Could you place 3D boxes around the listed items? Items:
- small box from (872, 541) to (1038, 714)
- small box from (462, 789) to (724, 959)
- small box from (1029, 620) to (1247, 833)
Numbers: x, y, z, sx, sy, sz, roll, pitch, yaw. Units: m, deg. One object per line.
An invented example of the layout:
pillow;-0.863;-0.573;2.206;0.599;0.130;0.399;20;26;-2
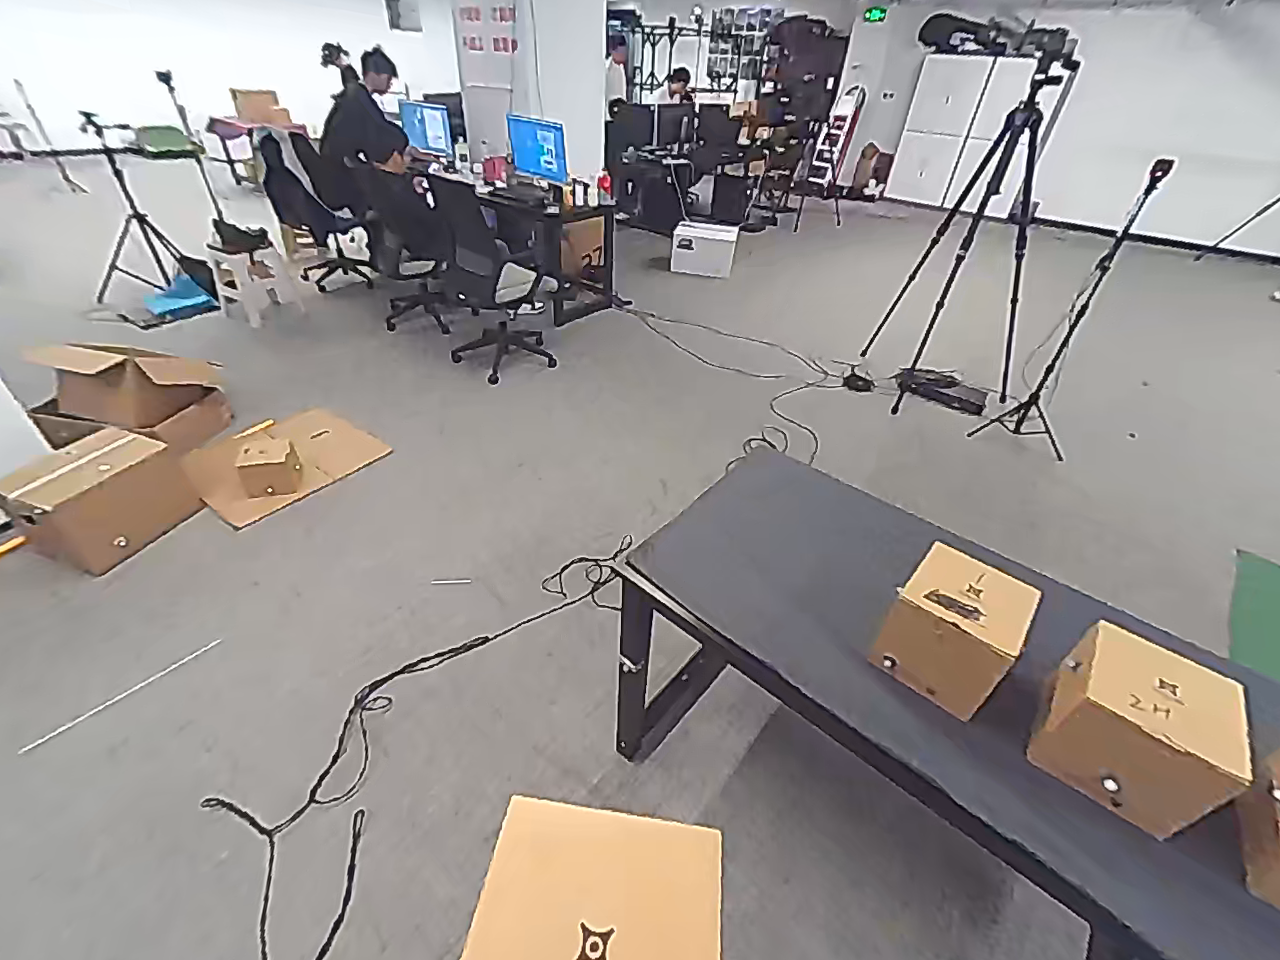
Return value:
small box;0.505;0.240;0.885;0.168;0.176;0.179;31;44;30
small box;-0.034;0.365;0.391;0.168;0.176;0.179;7;35;4
small box;0.690;0.342;0.765;0.168;0.176;0.179;29;43;30
